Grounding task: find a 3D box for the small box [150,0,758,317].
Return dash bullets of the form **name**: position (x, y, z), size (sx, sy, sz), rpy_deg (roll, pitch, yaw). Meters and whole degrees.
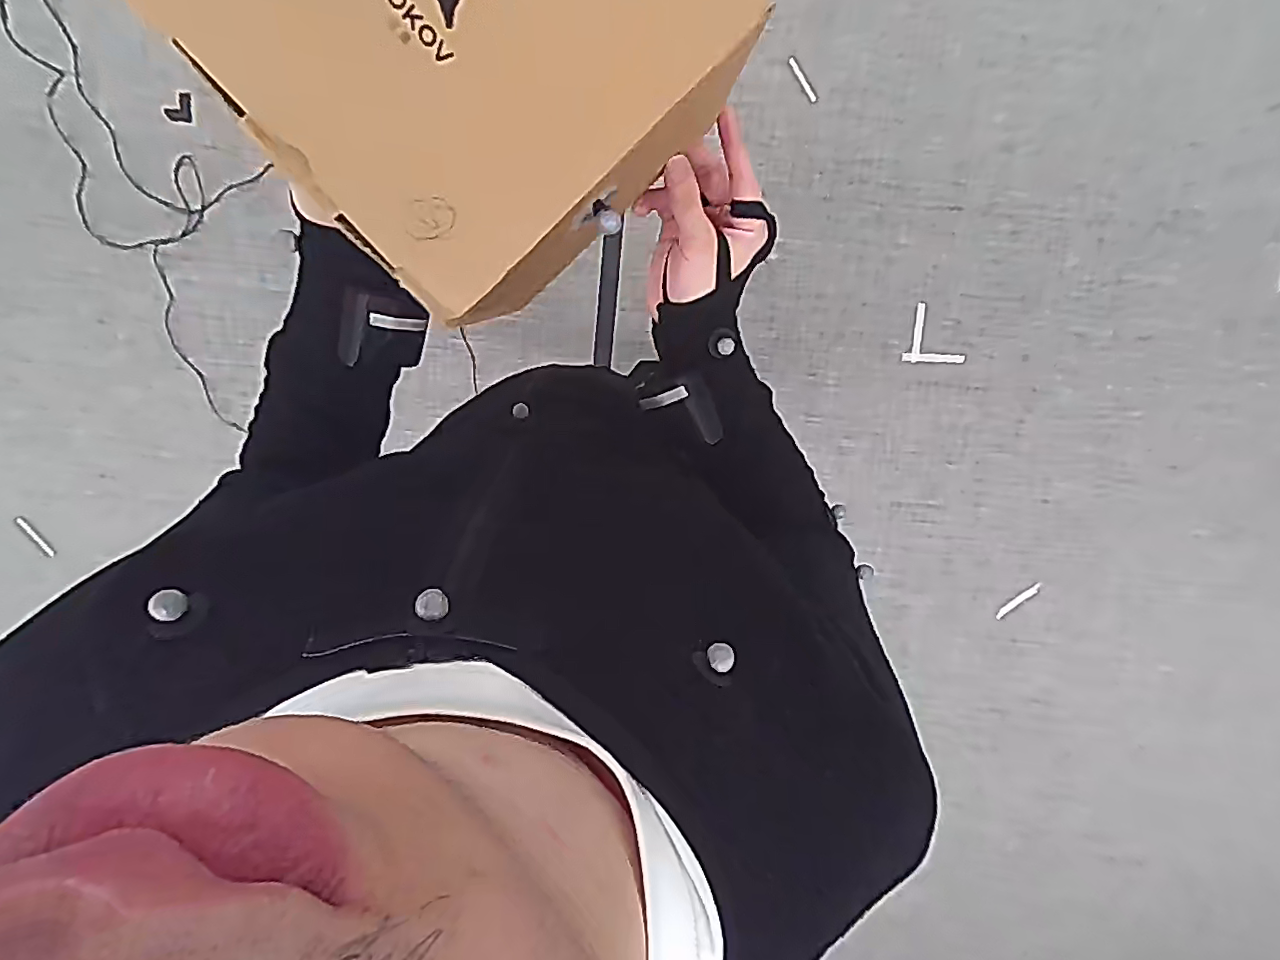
- **small box**: position (-0.070, -0.208, 0.277), size (0.179, 0.176, 0.168), rpy_deg (-40, 107, 12)
